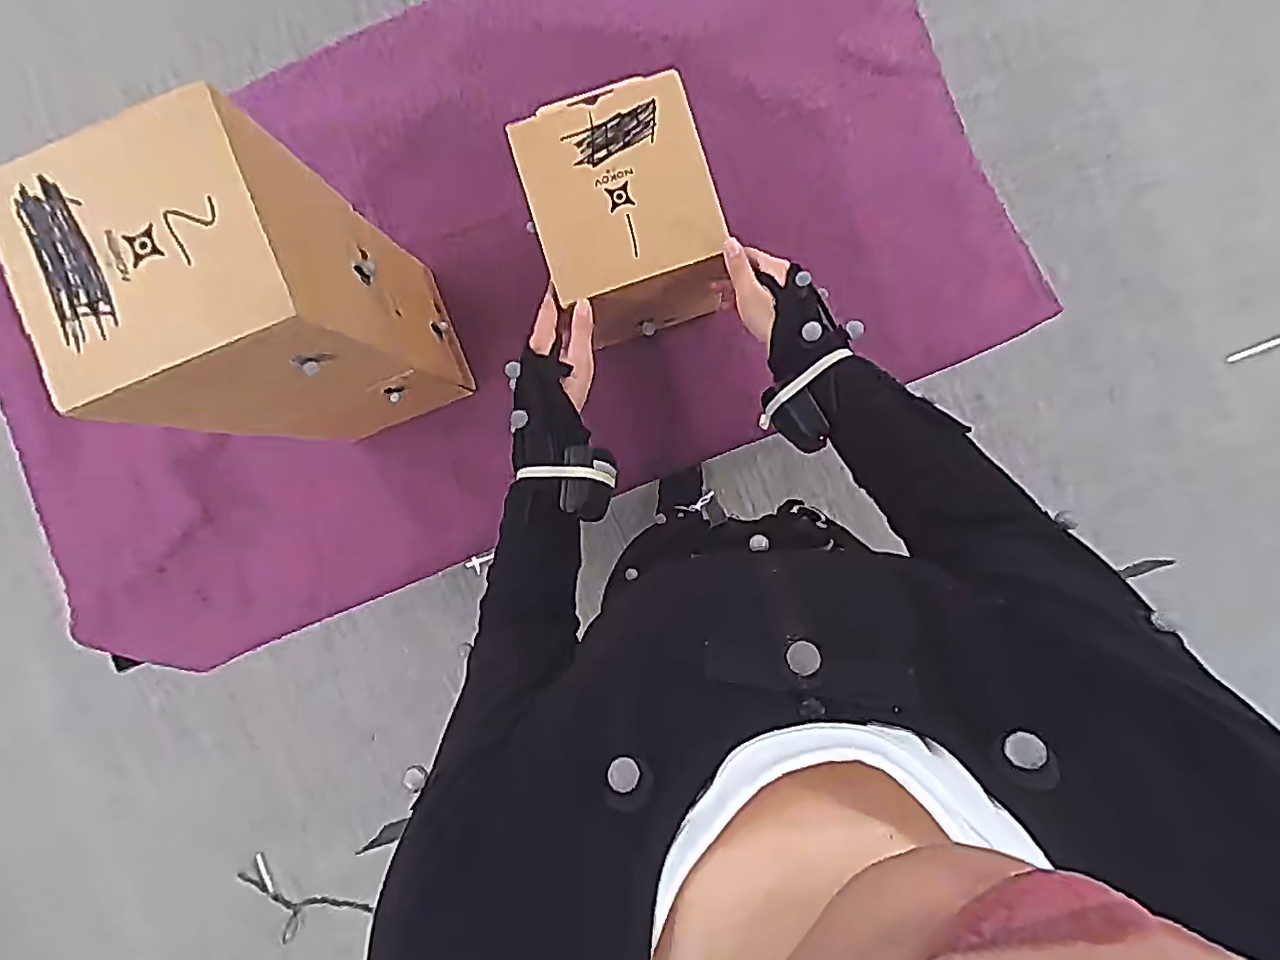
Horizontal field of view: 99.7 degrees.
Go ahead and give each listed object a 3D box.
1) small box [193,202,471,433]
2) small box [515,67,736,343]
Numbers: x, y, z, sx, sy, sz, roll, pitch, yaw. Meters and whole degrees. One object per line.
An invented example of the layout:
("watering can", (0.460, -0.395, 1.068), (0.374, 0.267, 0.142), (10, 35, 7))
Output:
("small box", (-0.317, -0.158, 0.593), (0.179, 0.176, 0.168), (-22, 90, 3))
("small box", (-0.011, -0.267, 0.566), (0.168, 0.176, 0.179), (-17, 89, 3))
